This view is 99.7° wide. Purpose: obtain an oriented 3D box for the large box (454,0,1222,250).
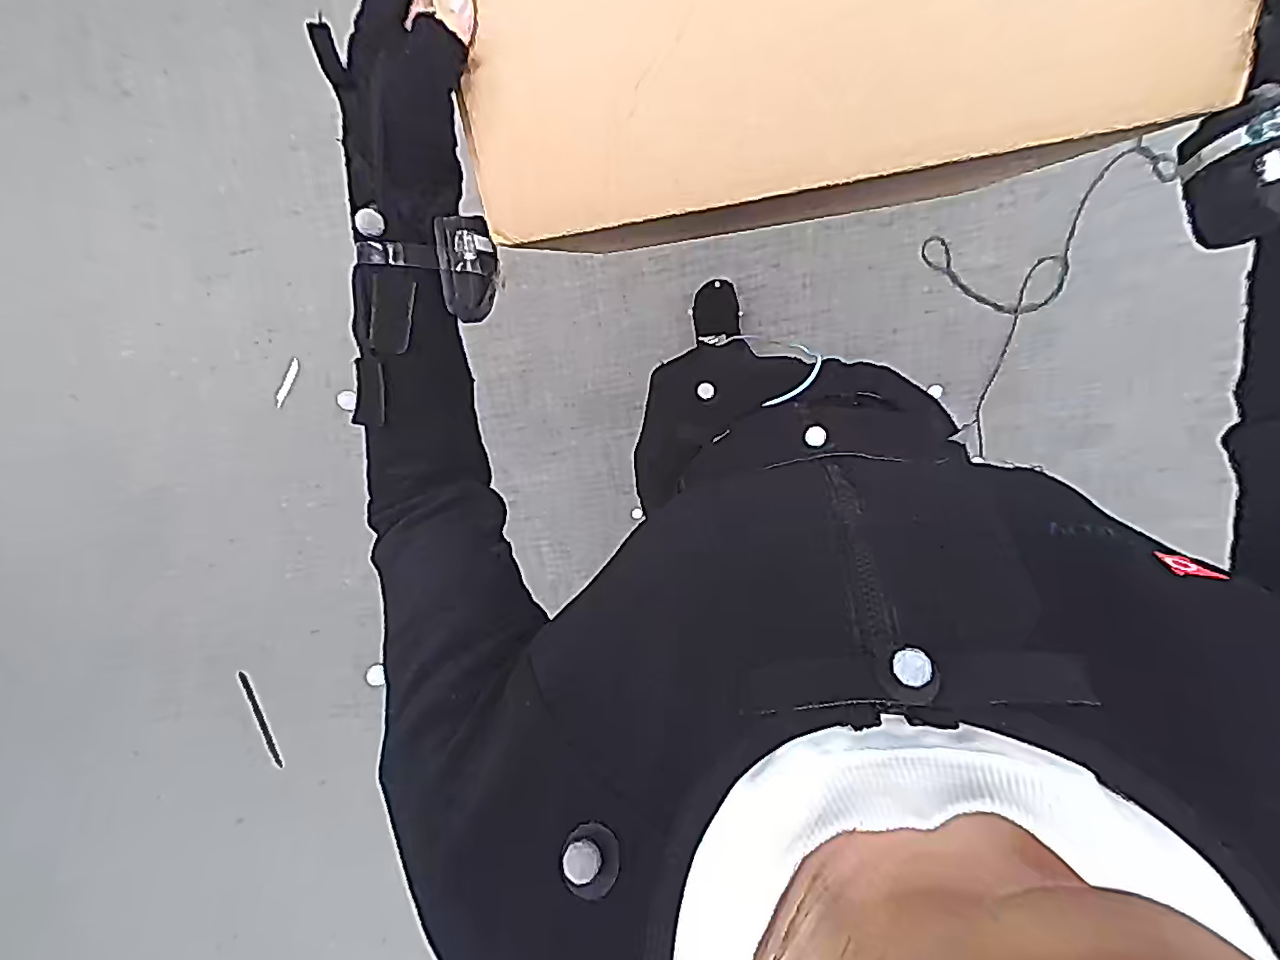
[{"bbox_3d":[0.099,-0.379,0.408,0.408,0.320,0.320,-6,111,11],"label":"large box"}]
